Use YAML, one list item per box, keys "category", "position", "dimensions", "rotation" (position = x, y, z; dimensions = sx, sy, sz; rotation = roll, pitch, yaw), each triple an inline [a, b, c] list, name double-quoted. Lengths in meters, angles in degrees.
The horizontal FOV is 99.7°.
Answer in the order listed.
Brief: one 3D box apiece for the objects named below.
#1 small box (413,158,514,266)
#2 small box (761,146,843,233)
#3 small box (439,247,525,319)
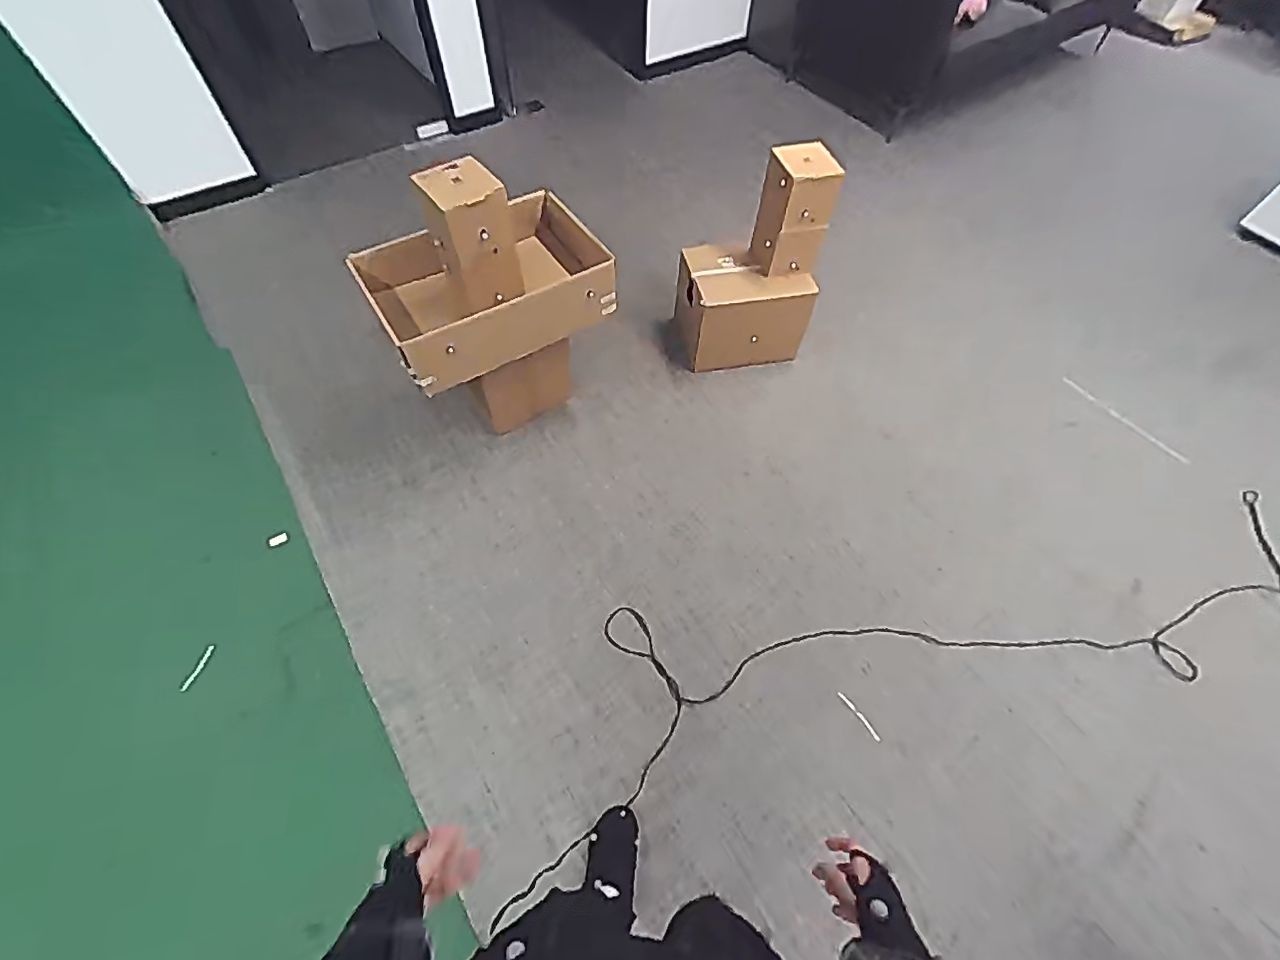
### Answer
- category: "small box"
  position: [-0.437, -0.666, 1.364]
  dimensions: [0.168, 0.176, 0.179]
  rotation: [-32, 66, -20]
- category: "small box"
  position: [0.490, -0.896, 1.670]
  dimensions: [0.168, 0.176, 0.179]
  rotation: [-13, 59, -10]
- category: "small box"
  position: [-0.439, -0.583, 1.505]
  dimensions: [0.168, 0.176, 0.179]
  rotation: [-30, 65, -18]
